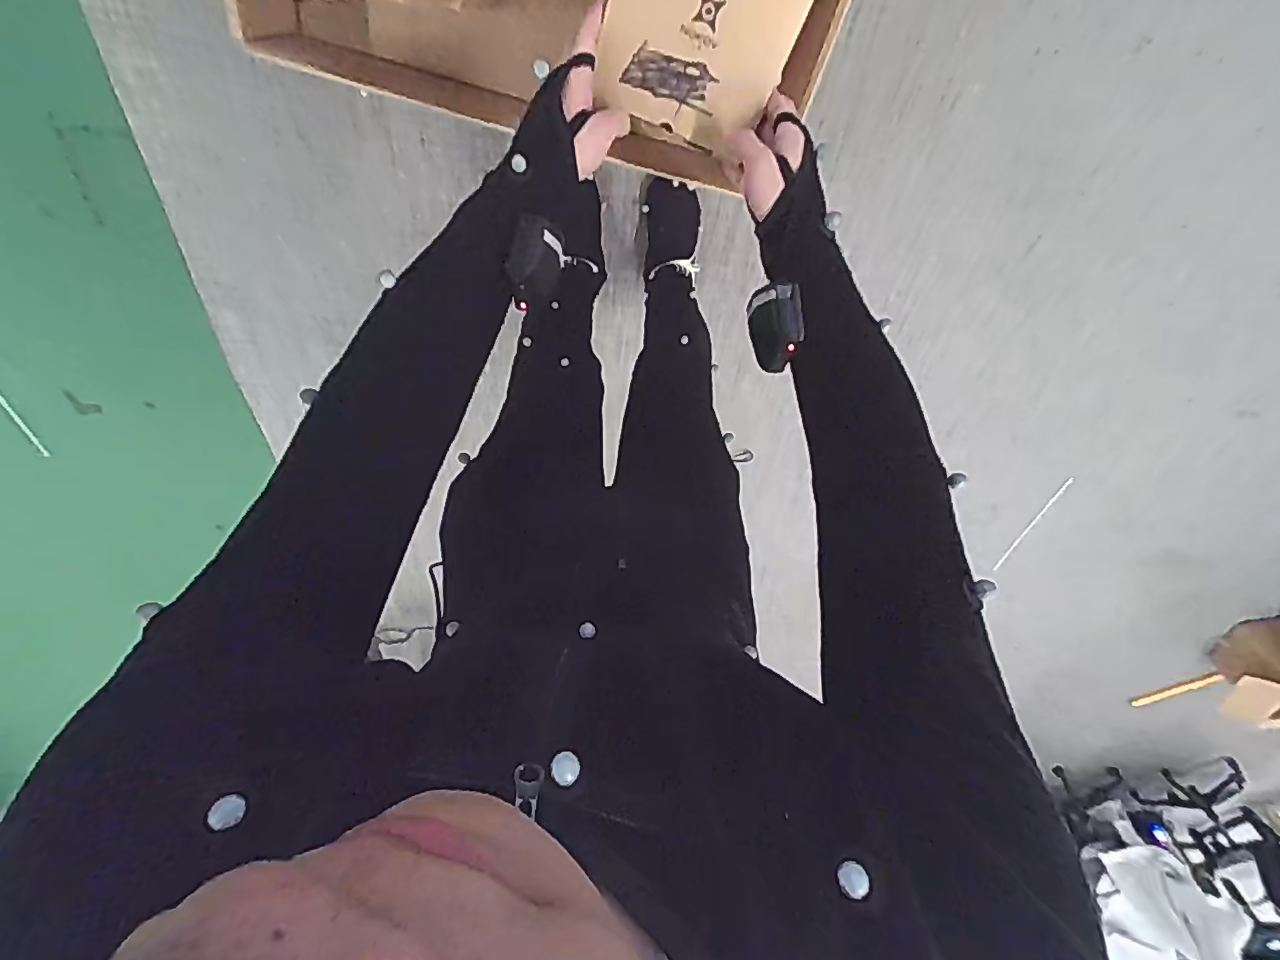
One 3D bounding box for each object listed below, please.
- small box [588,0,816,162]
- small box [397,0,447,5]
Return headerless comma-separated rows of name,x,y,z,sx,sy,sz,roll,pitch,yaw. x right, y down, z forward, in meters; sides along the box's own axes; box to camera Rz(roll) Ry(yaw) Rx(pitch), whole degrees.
small box,0.056,-0.452,0.526,0.168,0.176,0.179,15,131,-15
small box,-0.226,-0.484,0.391,0.168,0.176,0.179,11,131,-12
